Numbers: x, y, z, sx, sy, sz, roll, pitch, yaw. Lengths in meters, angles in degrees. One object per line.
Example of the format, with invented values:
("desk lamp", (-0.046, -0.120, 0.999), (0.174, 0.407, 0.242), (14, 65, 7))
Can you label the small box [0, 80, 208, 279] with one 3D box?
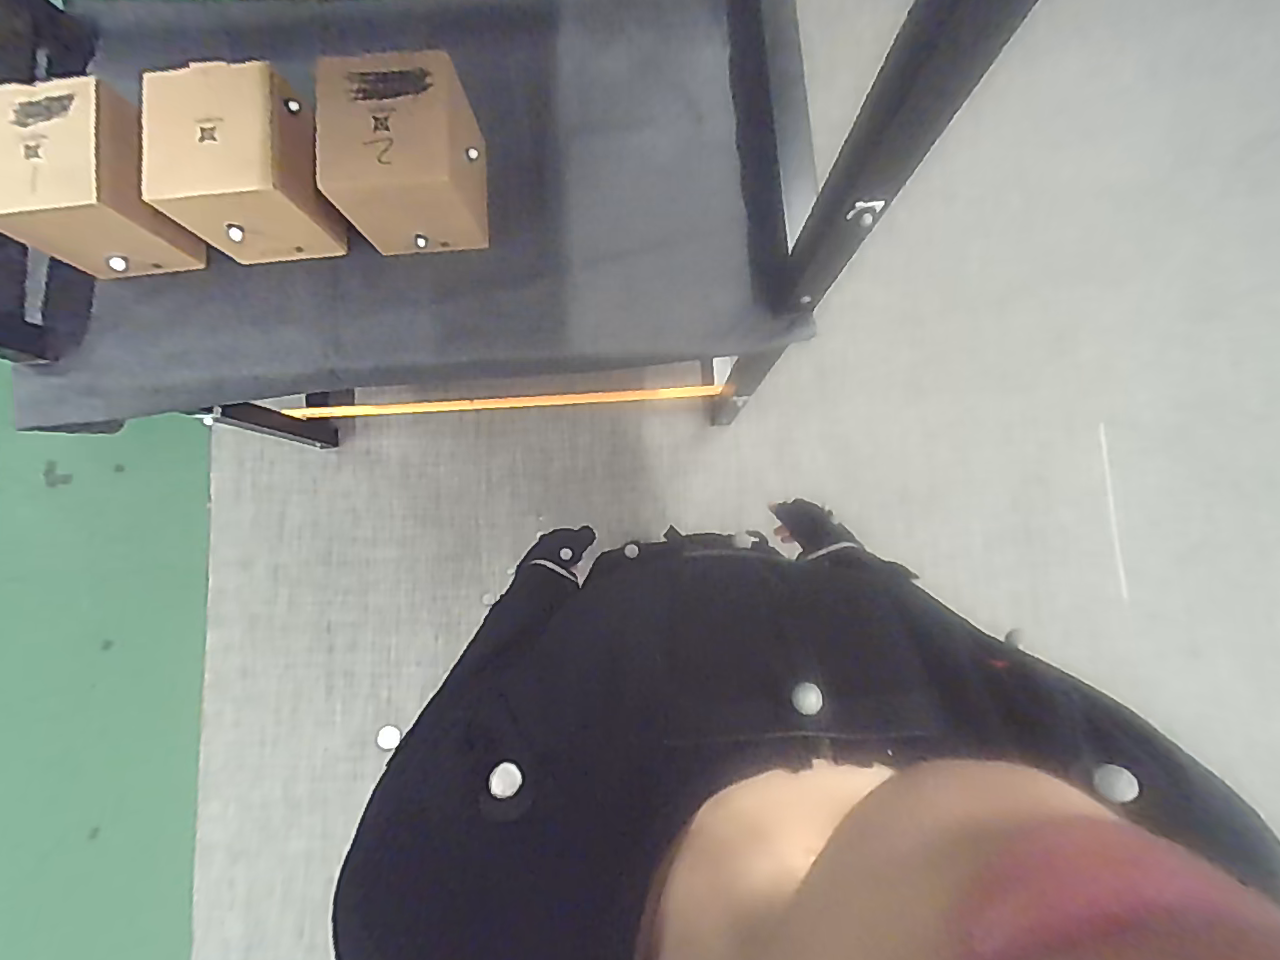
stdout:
("small box", (-0.752, -0.410, 0.761), (0.168, 0.176, 0.179), (-6, 84, 1))
